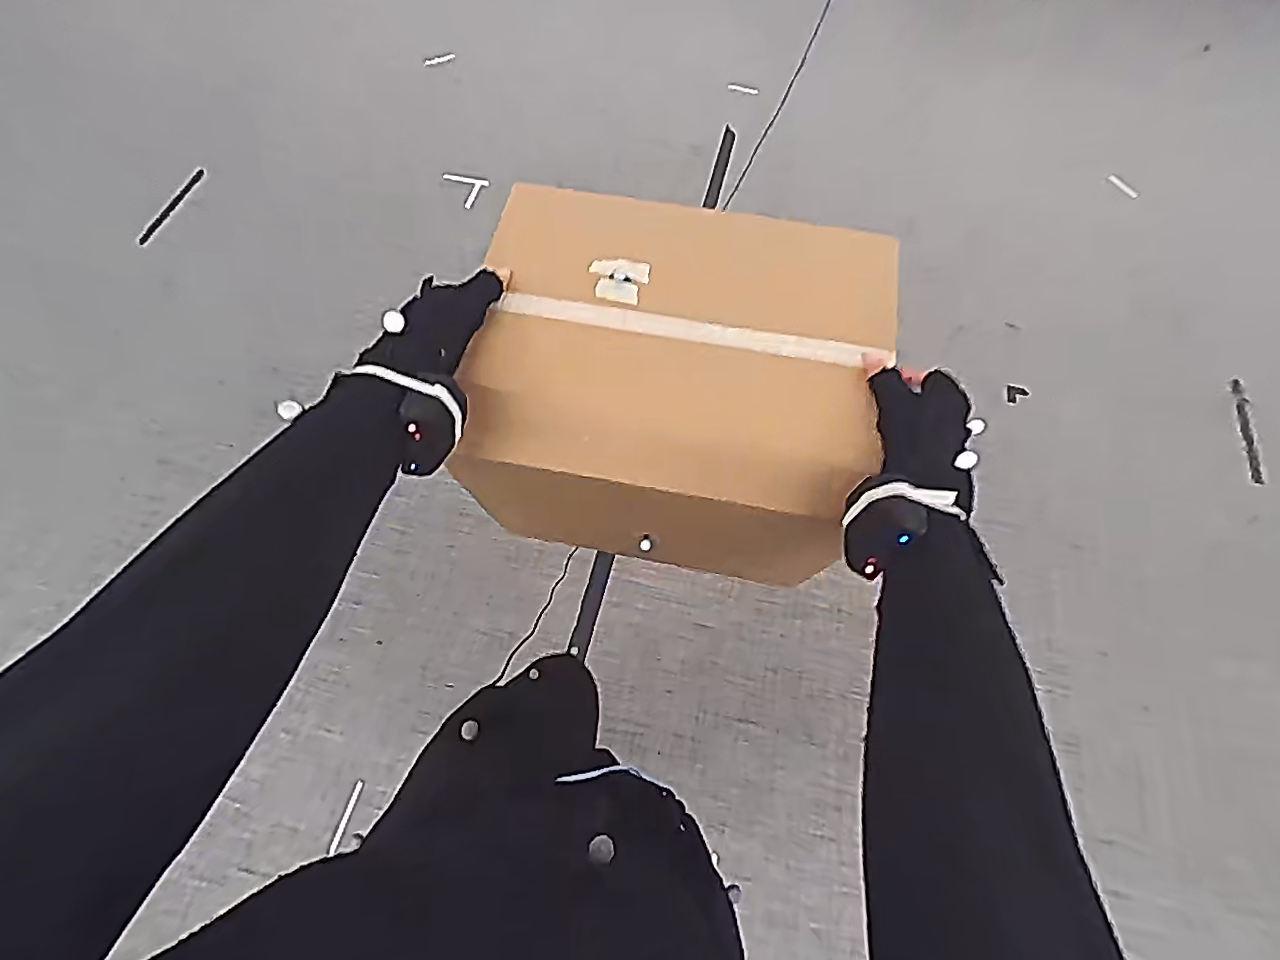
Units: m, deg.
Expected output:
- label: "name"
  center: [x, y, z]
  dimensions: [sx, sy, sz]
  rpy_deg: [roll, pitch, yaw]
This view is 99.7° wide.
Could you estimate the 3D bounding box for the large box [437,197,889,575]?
- label: "large box"
  center: [0.041, -0.088, 0.663]
  dimensions: [0.408, 0.320, 0.320]
  rpy_deg: [10, 69, 6]
